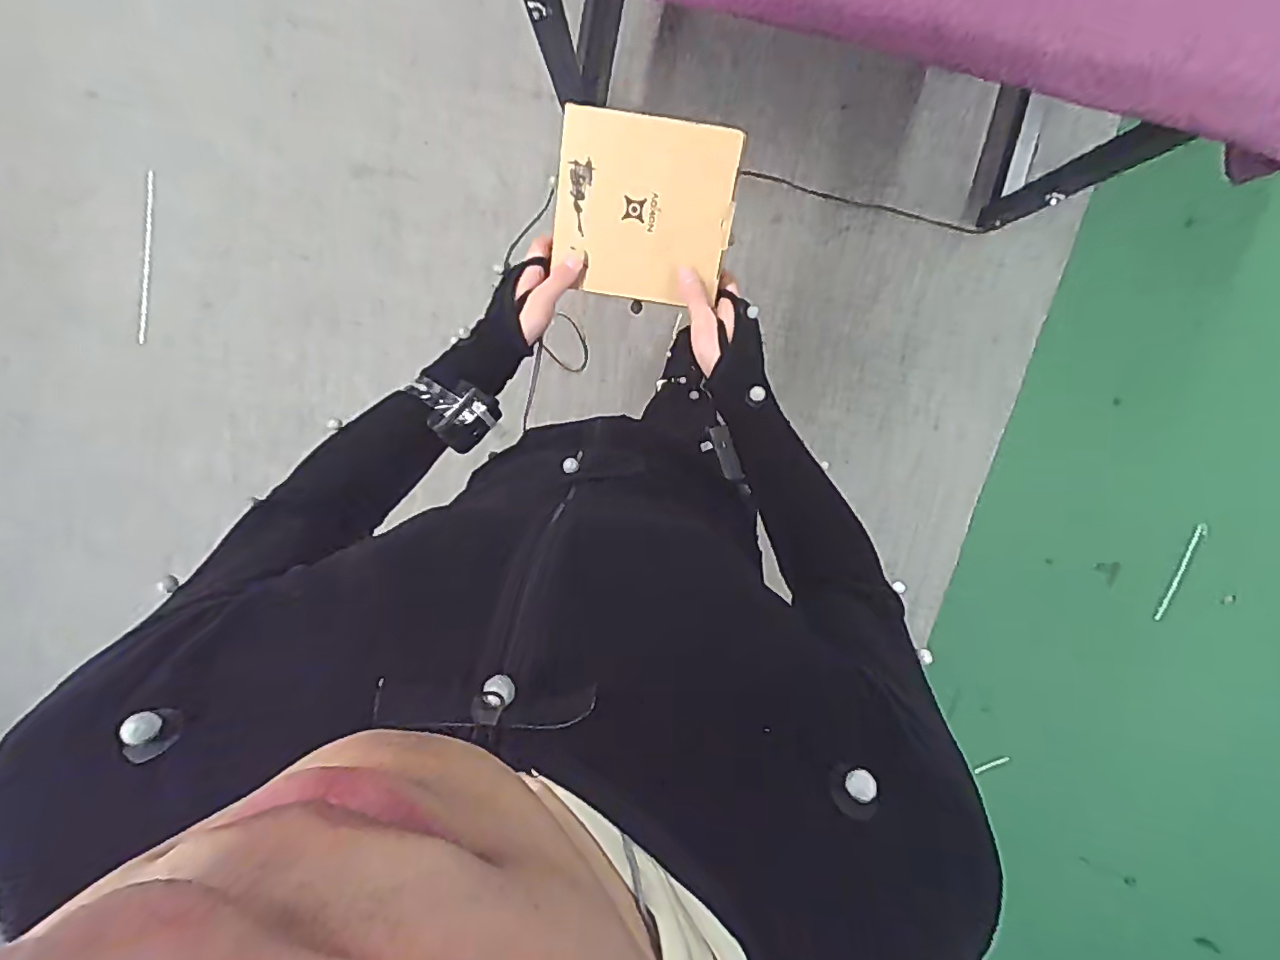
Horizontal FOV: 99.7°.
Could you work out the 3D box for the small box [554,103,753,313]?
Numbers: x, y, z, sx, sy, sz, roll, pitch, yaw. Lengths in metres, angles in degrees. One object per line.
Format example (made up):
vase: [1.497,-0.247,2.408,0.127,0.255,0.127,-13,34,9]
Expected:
small box: [0.012,-0.288,0.606,0.179,0.176,0.168,9,108,-1]
